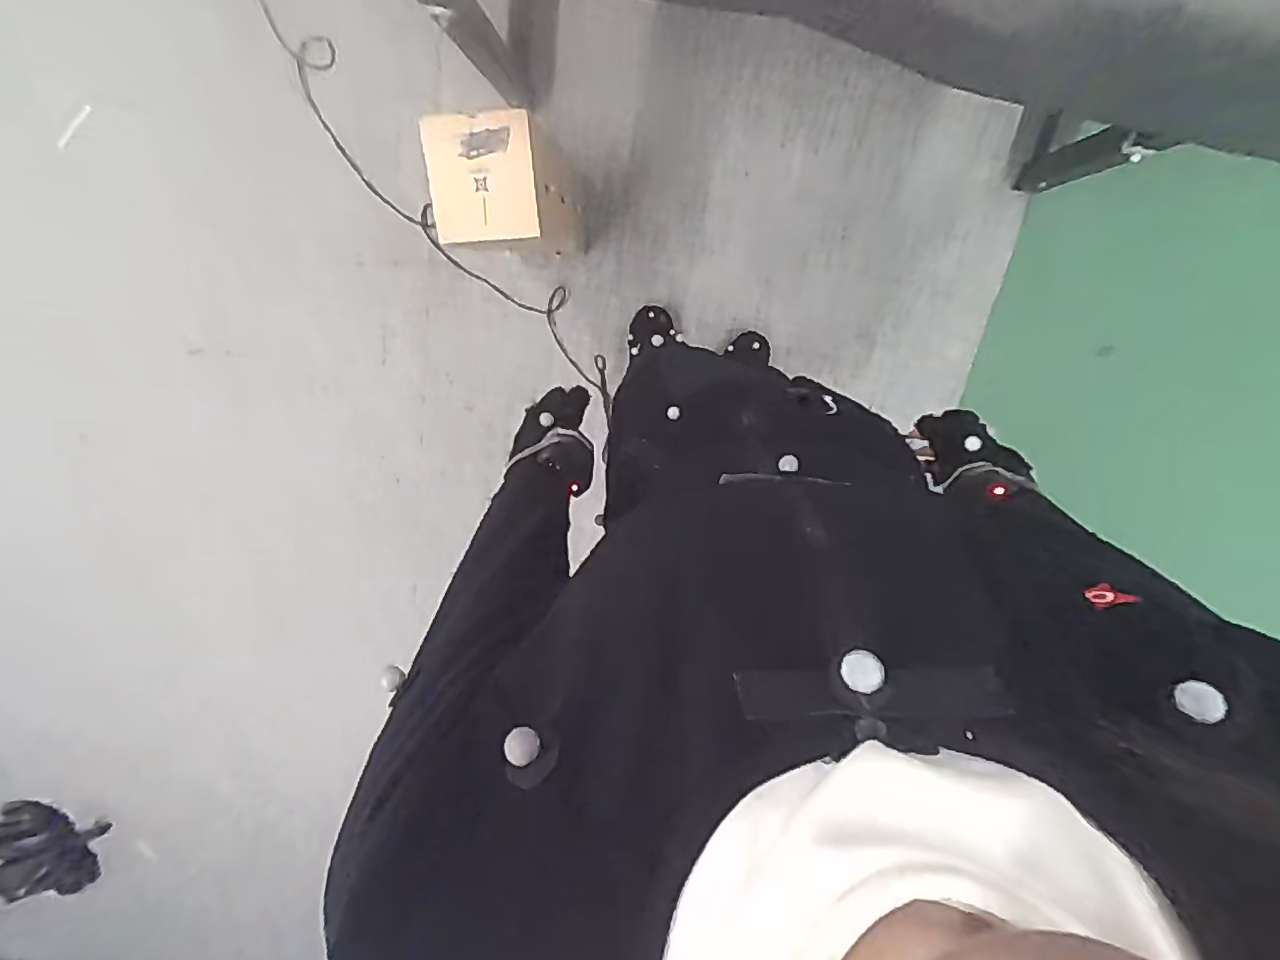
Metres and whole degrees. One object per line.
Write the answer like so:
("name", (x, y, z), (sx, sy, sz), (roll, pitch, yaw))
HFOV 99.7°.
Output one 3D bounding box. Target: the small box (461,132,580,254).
("small box", (-0.222, -0.545, 1.053), (0.168, 0.176, 0.179), (-4, 107, 8))
